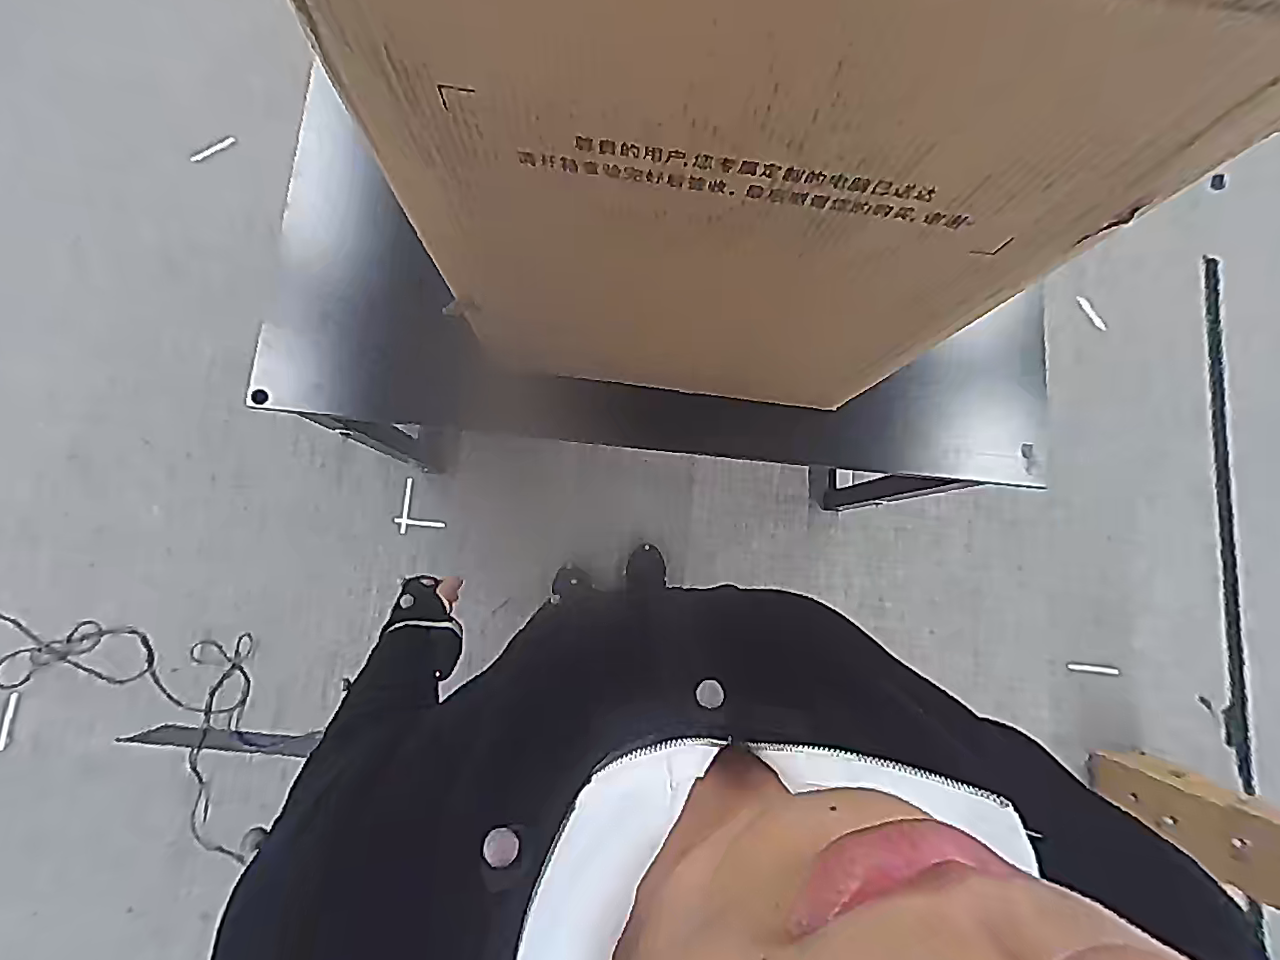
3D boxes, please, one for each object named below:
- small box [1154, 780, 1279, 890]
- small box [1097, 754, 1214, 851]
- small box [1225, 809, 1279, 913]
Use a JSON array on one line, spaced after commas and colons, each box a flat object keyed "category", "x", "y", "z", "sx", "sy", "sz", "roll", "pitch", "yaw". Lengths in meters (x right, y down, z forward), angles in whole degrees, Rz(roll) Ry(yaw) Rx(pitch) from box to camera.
[{"category": "small box", "x": 1.364, "y": 0.824, "z": 1.260, "sx": 0.179, "sy": 0.176, "sz": 0.168, "roll": 6, "pitch": 82, "yaw": -3}, {"category": "small box", "x": 1.353, "y": 0.841, "z": 1.424, "sx": 0.168, "sy": 0.176, "sz": 0.179, "roll": 3, "pitch": 83, "yaw": -3}, {"category": "small box", "x": 1.368, "y": 0.801, "z": 1.099, "sx": 0.179, "sy": 0.176, "sz": 0.168, "roll": 12, "pitch": 81, "yaw": -1}]
